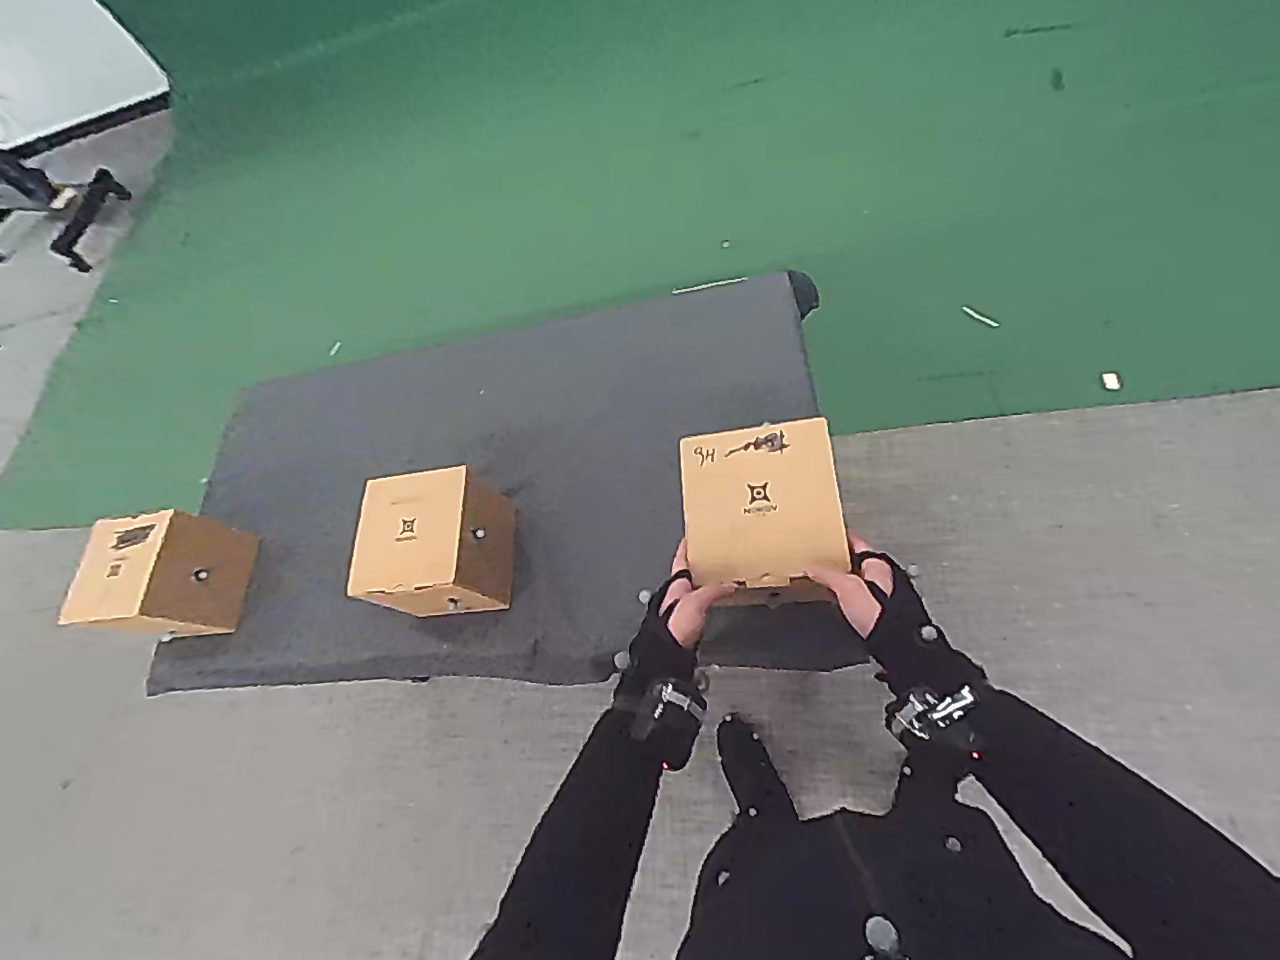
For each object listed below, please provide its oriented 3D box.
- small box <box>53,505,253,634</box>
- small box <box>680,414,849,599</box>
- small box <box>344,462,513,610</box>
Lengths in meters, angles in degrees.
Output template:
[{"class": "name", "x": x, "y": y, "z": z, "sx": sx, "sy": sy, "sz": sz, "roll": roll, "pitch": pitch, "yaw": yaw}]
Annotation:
[{"class": "small box", "x": -0.812, "y": 0.158, "z": 0.925, "sx": 0.168, "sy": 0.176, "sz": 0.179, "roll": -7, "pitch": 65, "yaw": 12}, {"class": "small box", "x": 0.148, "y": 0.044, "z": 0.640, "sx": 0.168, "sy": 0.176, "sz": 0.179, "roll": -7, "pitch": 69, "yaw": 15}, {"class": "small box", "x": -0.304, "y": 0.095, "z": 0.817, "sx": 0.168, "sy": 0.176, "sz": 0.179, "roll": -7, "pitch": 63, "yaw": 11}]
